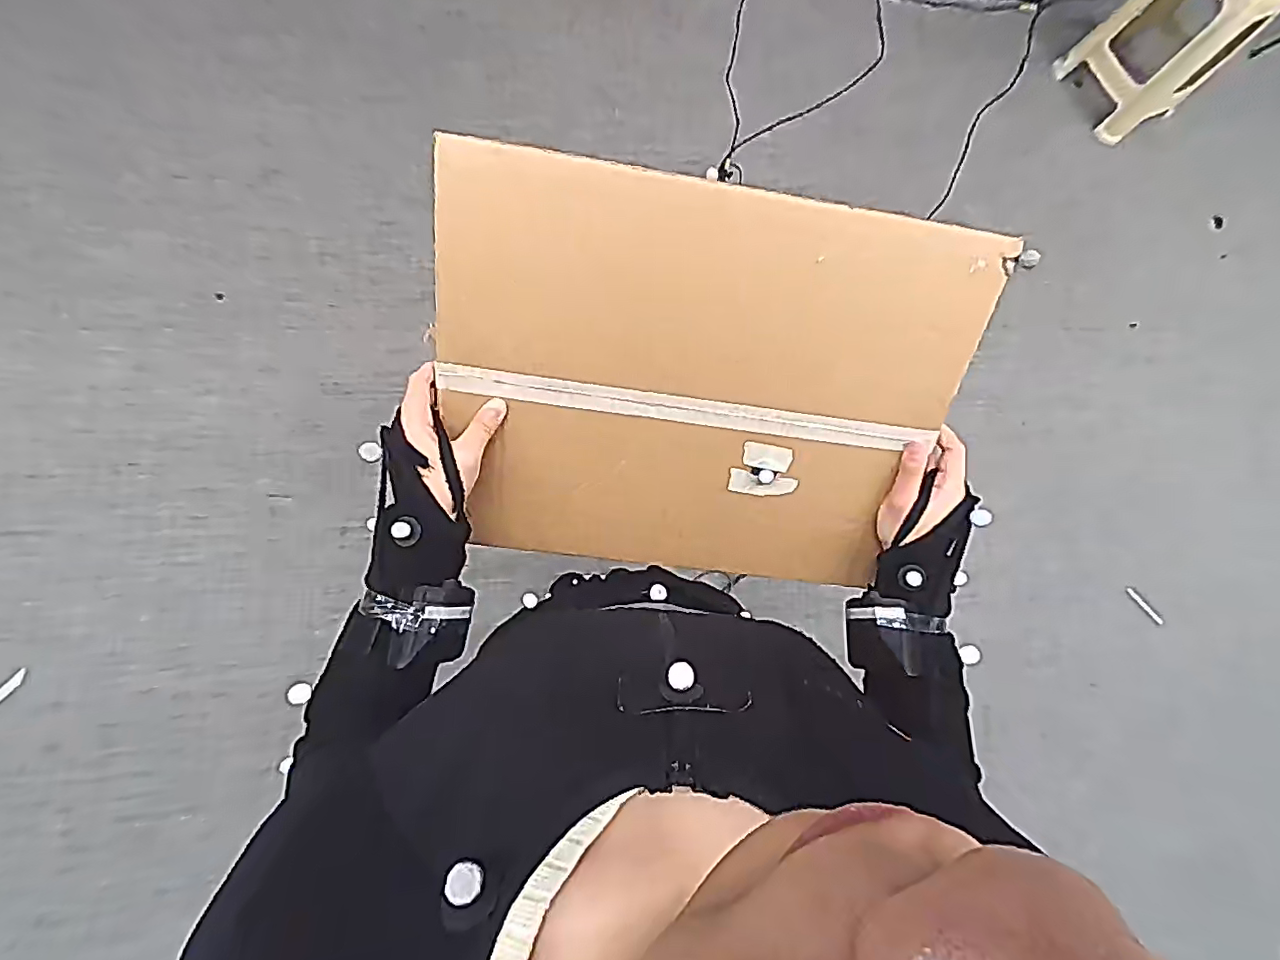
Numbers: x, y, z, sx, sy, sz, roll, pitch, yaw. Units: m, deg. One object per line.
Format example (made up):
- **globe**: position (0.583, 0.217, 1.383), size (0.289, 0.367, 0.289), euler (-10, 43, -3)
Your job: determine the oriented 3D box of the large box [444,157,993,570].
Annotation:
- **large box**: position (0.037, -0.131, 0.576), size (0.408, 0.320, 0.320), euler (6, 119, -7)
